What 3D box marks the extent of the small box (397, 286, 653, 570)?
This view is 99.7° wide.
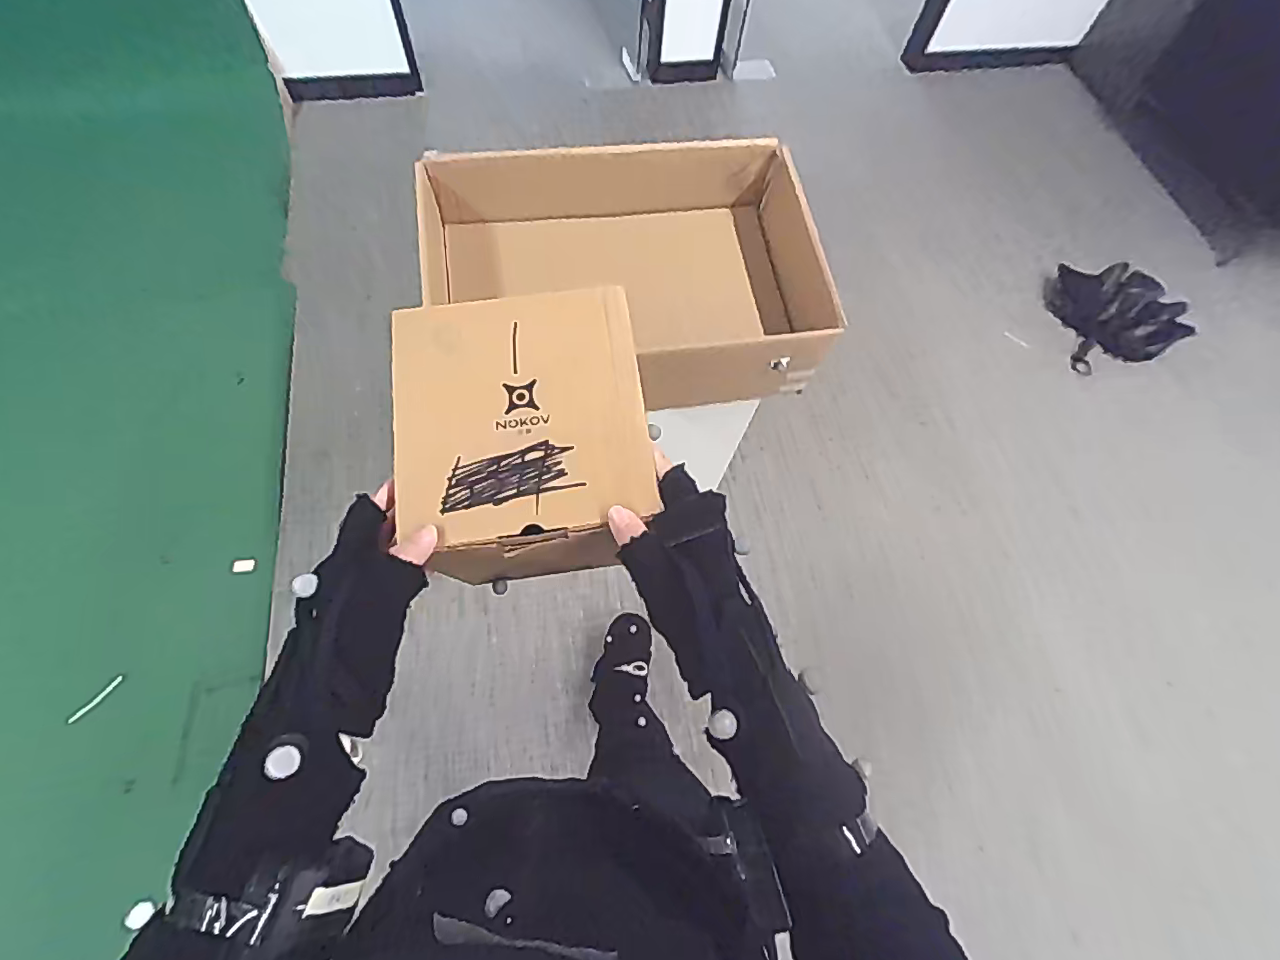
[{"bbox_3d":[-0.082,-0.027,0.442,0.168,0.176,0.179,-7,72,-4],"label":"small box"}]
